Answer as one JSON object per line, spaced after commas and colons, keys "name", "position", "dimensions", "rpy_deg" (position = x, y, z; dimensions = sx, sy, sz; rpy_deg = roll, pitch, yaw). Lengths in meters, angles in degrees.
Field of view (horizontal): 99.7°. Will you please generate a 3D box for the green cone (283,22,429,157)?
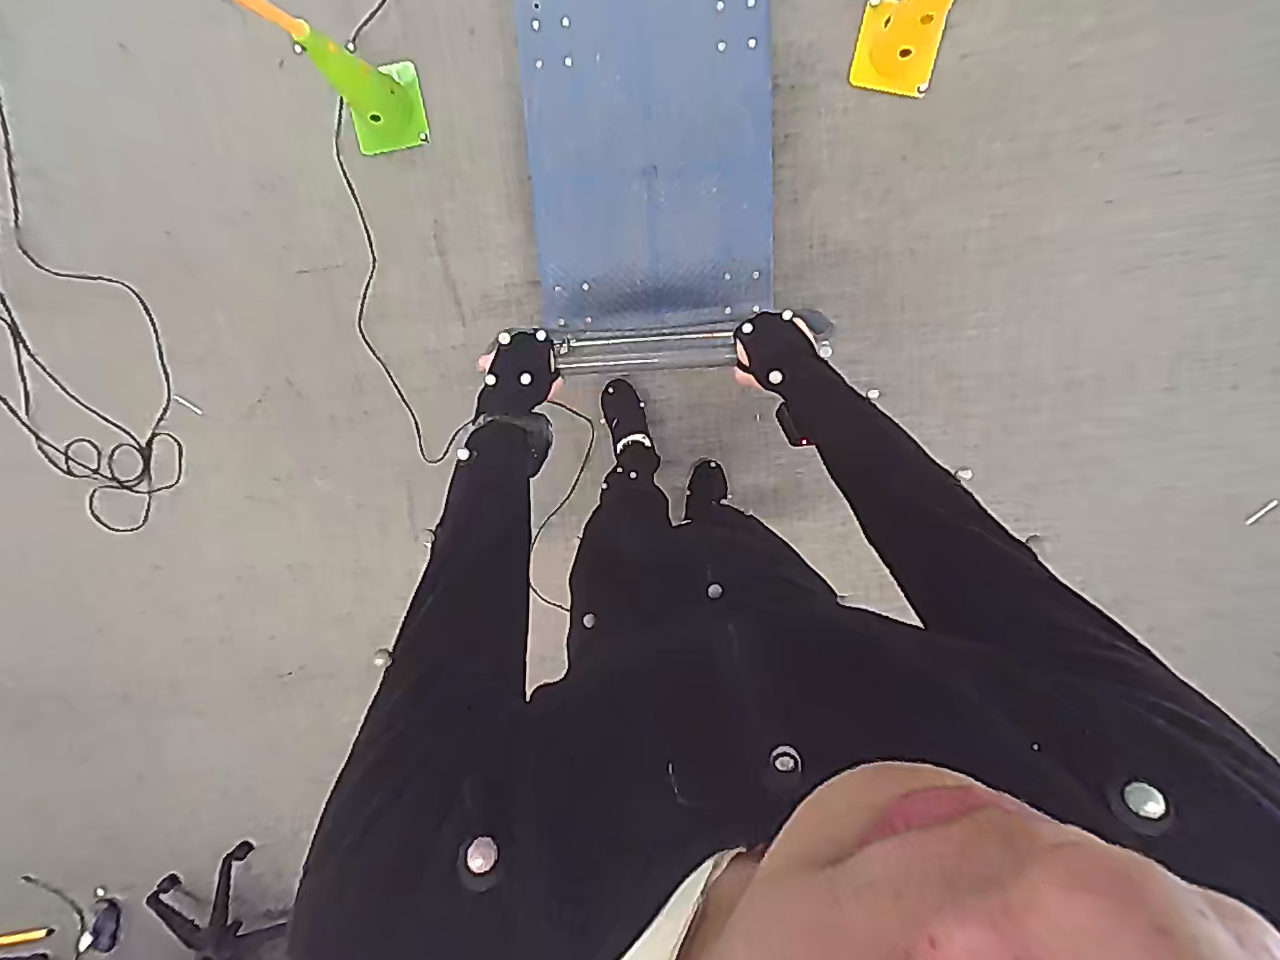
{"name": "green cone", "position": [-0.694, -0.959, 1.284], "dimensions": [0.202, 0.368, 0.200], "rpy_deg": [-9, 100, 7]}
